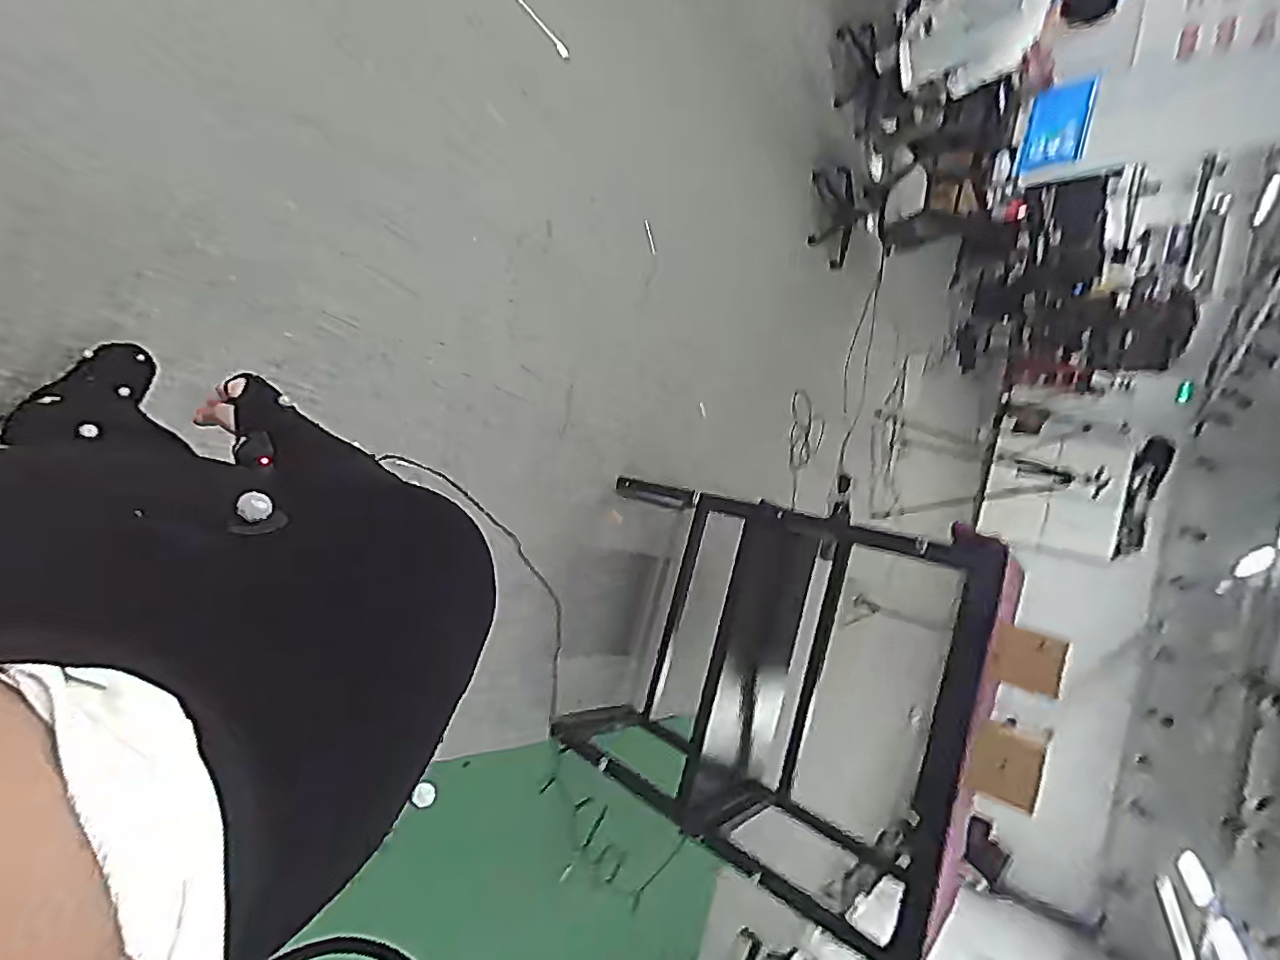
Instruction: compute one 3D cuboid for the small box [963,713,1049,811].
[{"bbox_3d":[0.997,0.761,1.477,0.168,0.176,0.179,26,79,-50],"label":"small box"}]
